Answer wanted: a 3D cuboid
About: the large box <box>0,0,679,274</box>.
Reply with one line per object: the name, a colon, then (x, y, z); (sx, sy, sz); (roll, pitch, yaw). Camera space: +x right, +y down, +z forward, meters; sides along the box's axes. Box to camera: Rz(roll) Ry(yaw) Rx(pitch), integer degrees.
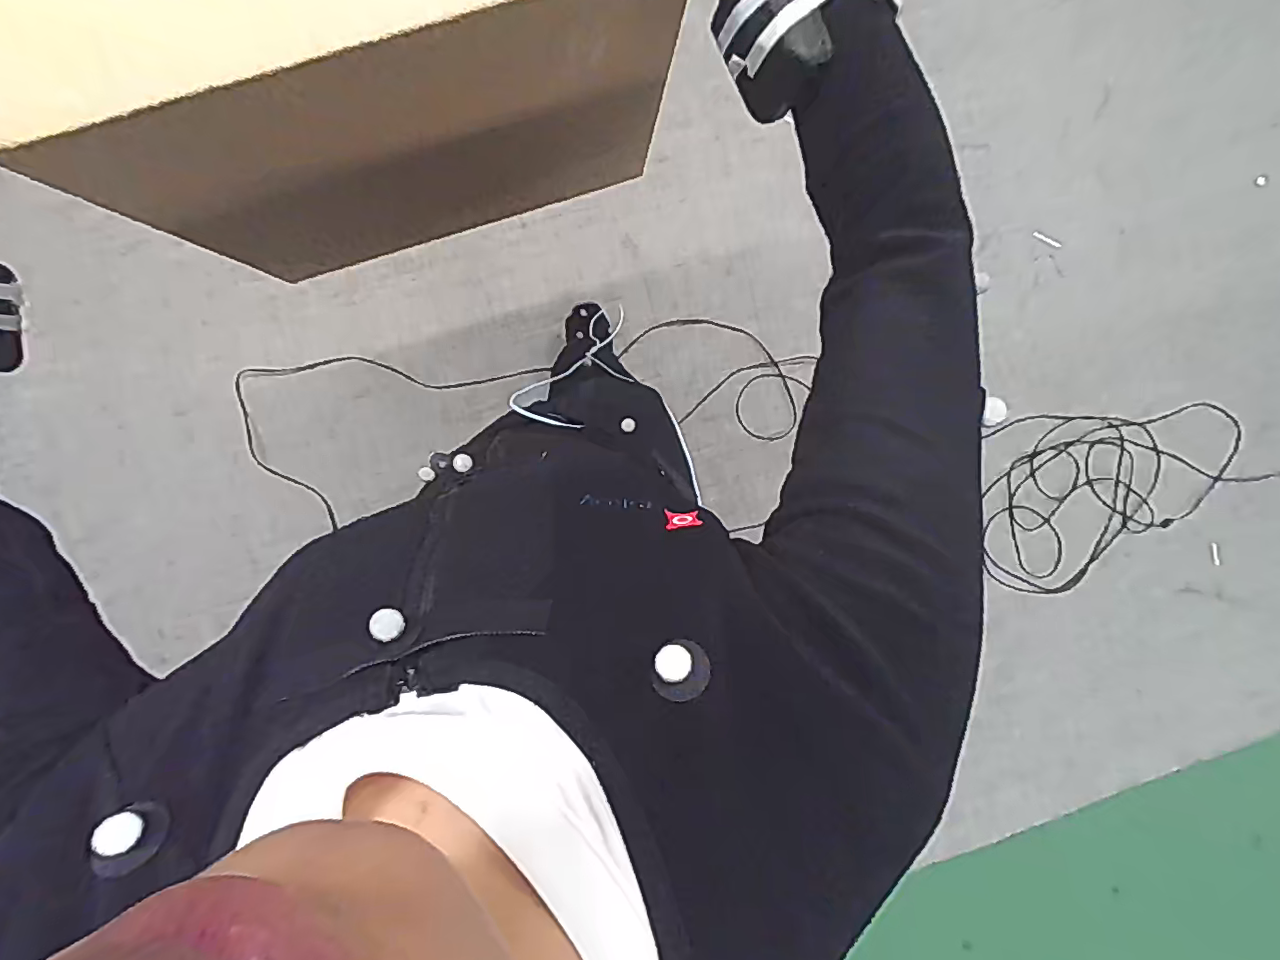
large box: (-0.216, -0.406, 0.423); (0.408, 0.320, 0.320); (-19, 99, -4)
